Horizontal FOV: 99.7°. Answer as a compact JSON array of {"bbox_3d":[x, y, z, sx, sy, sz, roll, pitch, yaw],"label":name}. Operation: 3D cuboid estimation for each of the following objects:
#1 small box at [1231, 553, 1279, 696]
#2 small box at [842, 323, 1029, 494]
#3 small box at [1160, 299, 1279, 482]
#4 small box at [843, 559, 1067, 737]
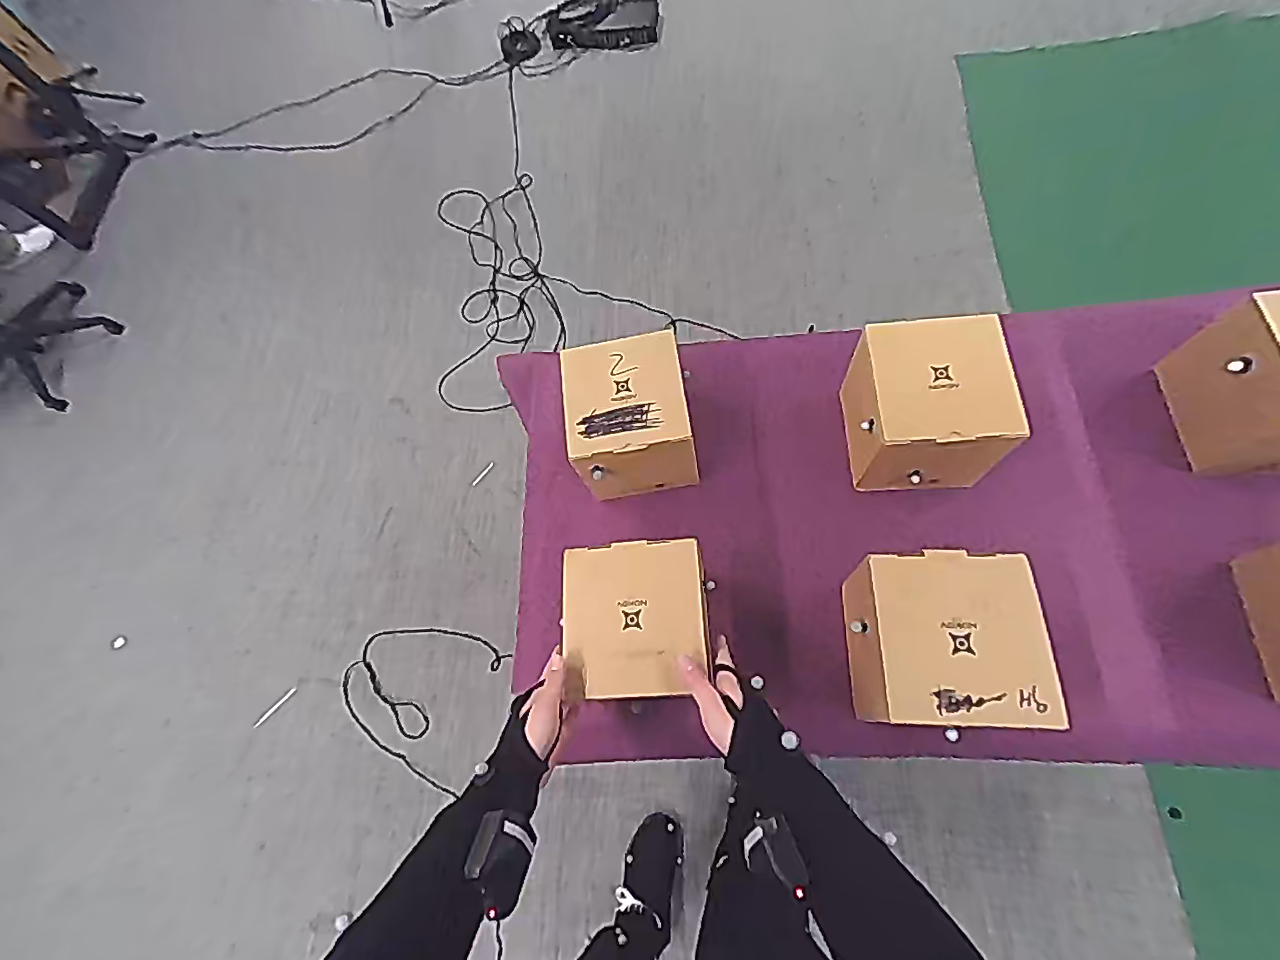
[{"bbox_3d":[0.812,0.163,0.576,0.168,0.176,0.179,1,67,10],"label":"small box"},{"bbox_3d":[0.387,-0.091,0.746,0.168,0.176,0.179,-3,70,7],"label":"small box"},{"bbox_3d":[0.823,-0.108,0.682,0.168,0.176,0.179,-2,69,9],"label":"small box"},{"bbox_3d":[0.345,0.200,0.635,0.168,0.176,0.179,-1,67,9],"label":"small box"}]
